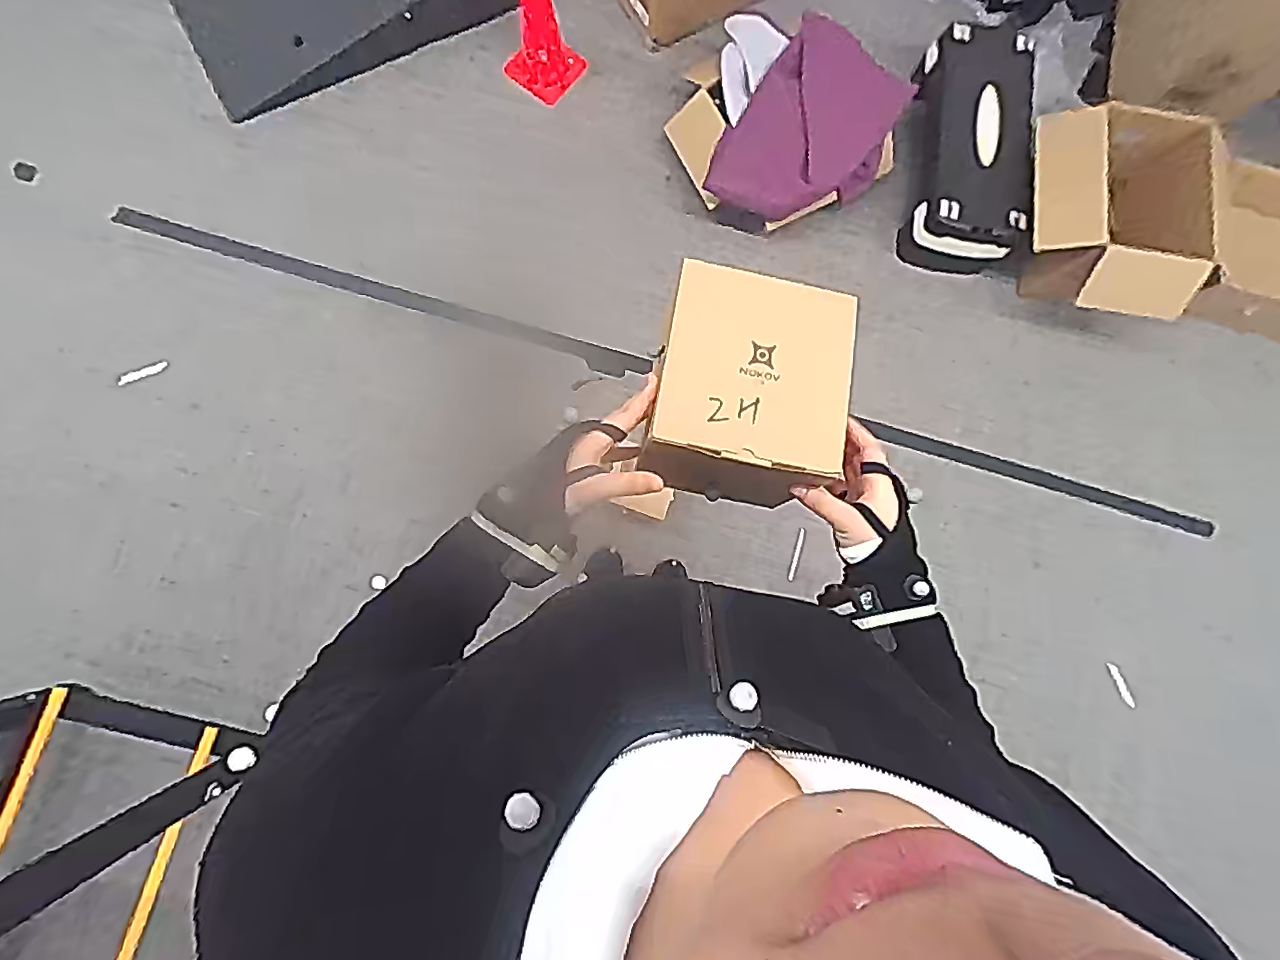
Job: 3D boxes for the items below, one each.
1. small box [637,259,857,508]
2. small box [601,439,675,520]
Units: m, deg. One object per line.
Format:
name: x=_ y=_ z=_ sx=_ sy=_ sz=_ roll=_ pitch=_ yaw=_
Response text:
small box: x=0.096 y=-0.083 z=0.547 sx=0.168 sy=0.176 sz=0.179 roll=12 pitch=76 yaw=-4
small box: x=0.003 y=0.007 z=1.456 sx=0.179 sy=0.176 sz=0.168 roll=20 pitch=83 yaw=-2
